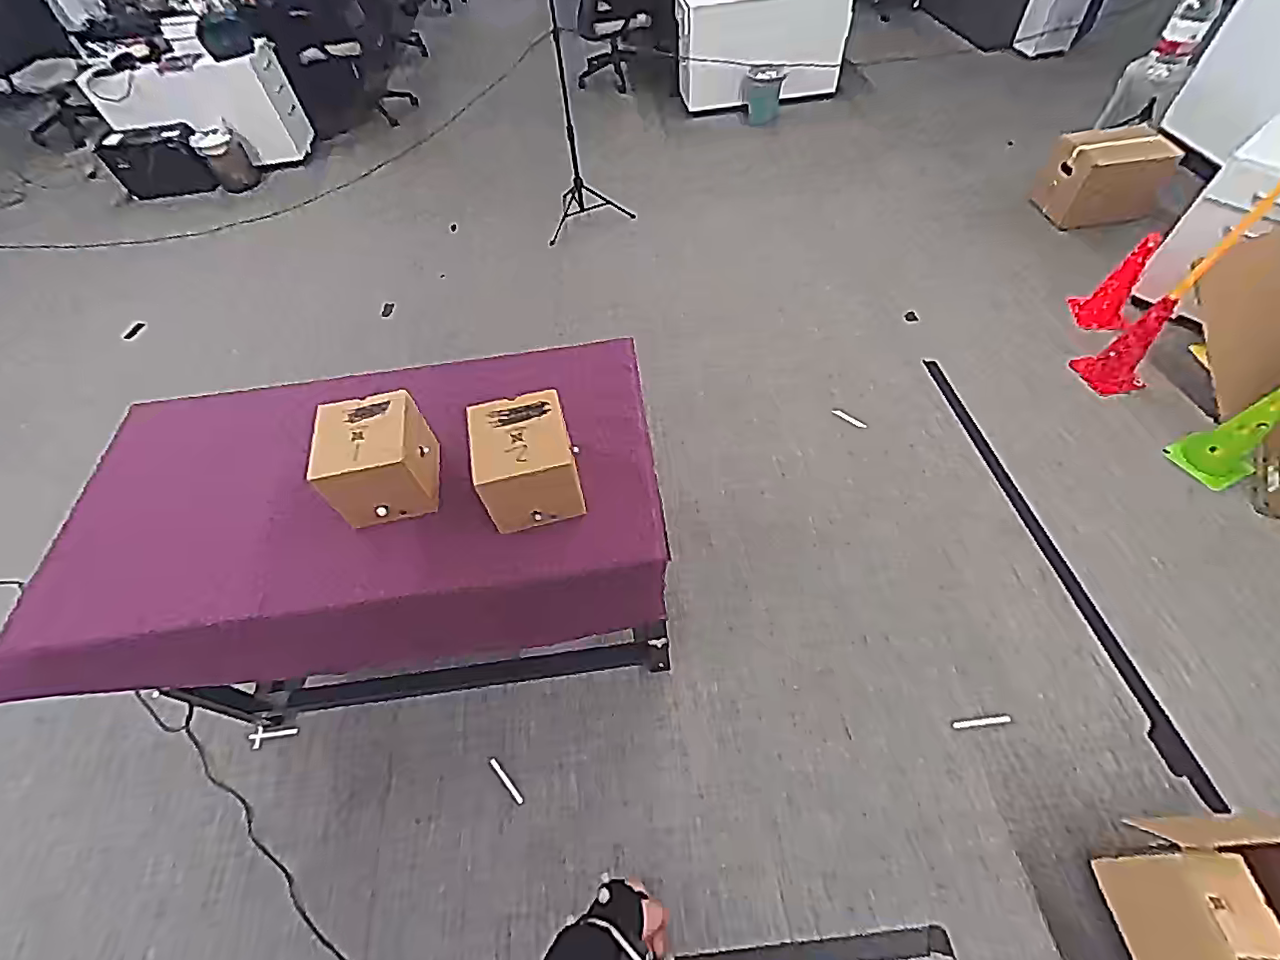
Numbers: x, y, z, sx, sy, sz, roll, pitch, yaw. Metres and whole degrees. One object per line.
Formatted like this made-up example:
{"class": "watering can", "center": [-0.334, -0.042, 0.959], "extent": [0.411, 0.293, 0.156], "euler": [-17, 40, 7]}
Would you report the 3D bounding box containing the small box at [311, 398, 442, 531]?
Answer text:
{"class": "small box", "center": [-0.493, -0.027, 1.039], "extent": [0.168, 0.176, 0.179], "euler": [-12, 55, -4]}
